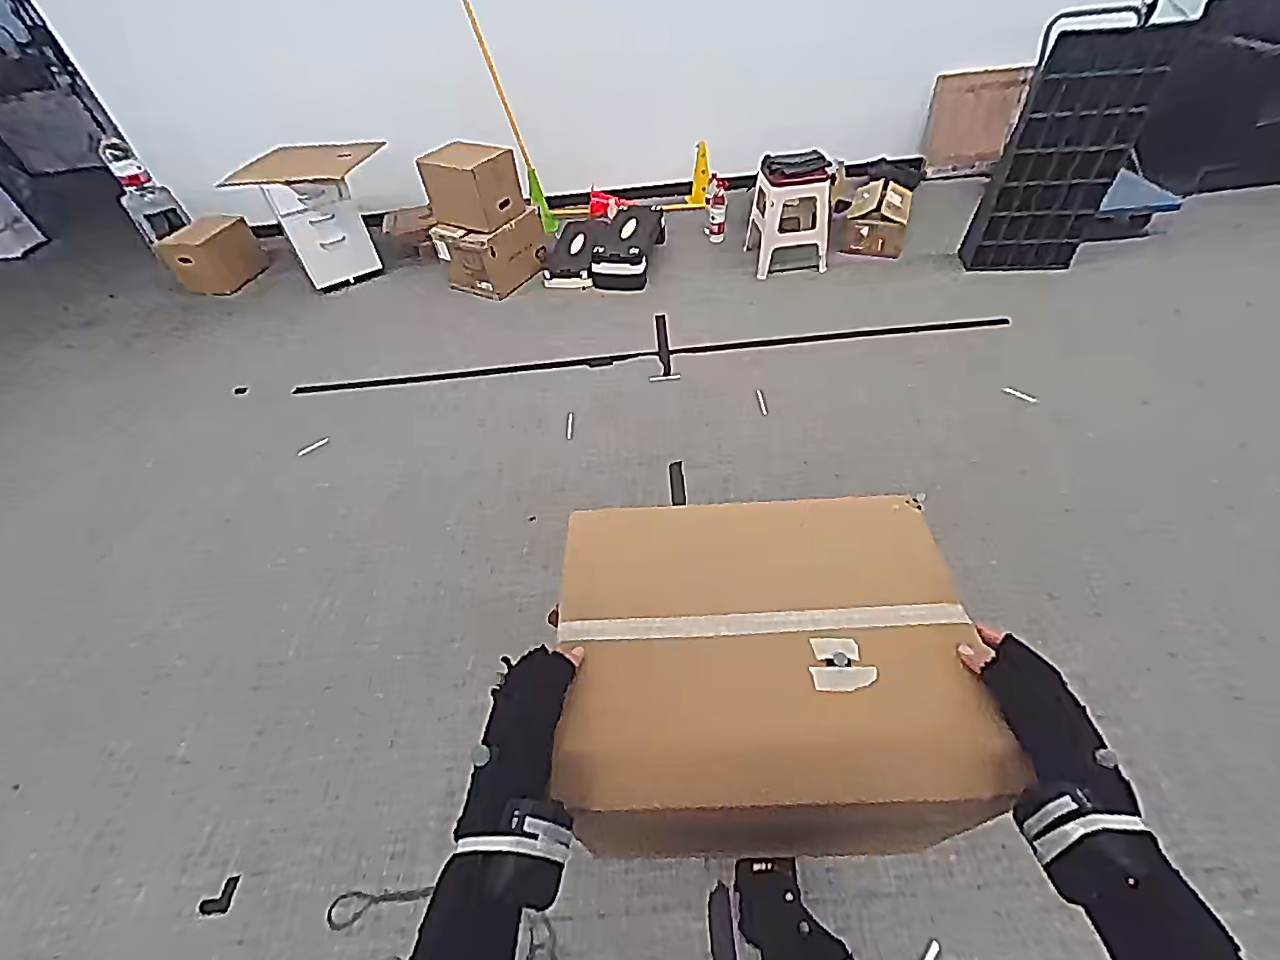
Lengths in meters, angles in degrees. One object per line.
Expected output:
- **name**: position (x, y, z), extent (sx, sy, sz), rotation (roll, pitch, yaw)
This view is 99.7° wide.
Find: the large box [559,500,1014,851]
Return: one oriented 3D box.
- **large box**: position (0.128, 0.249, 0.675), extent (0.408, 0.320, 0.320), rotation (-3, 49, 2)
